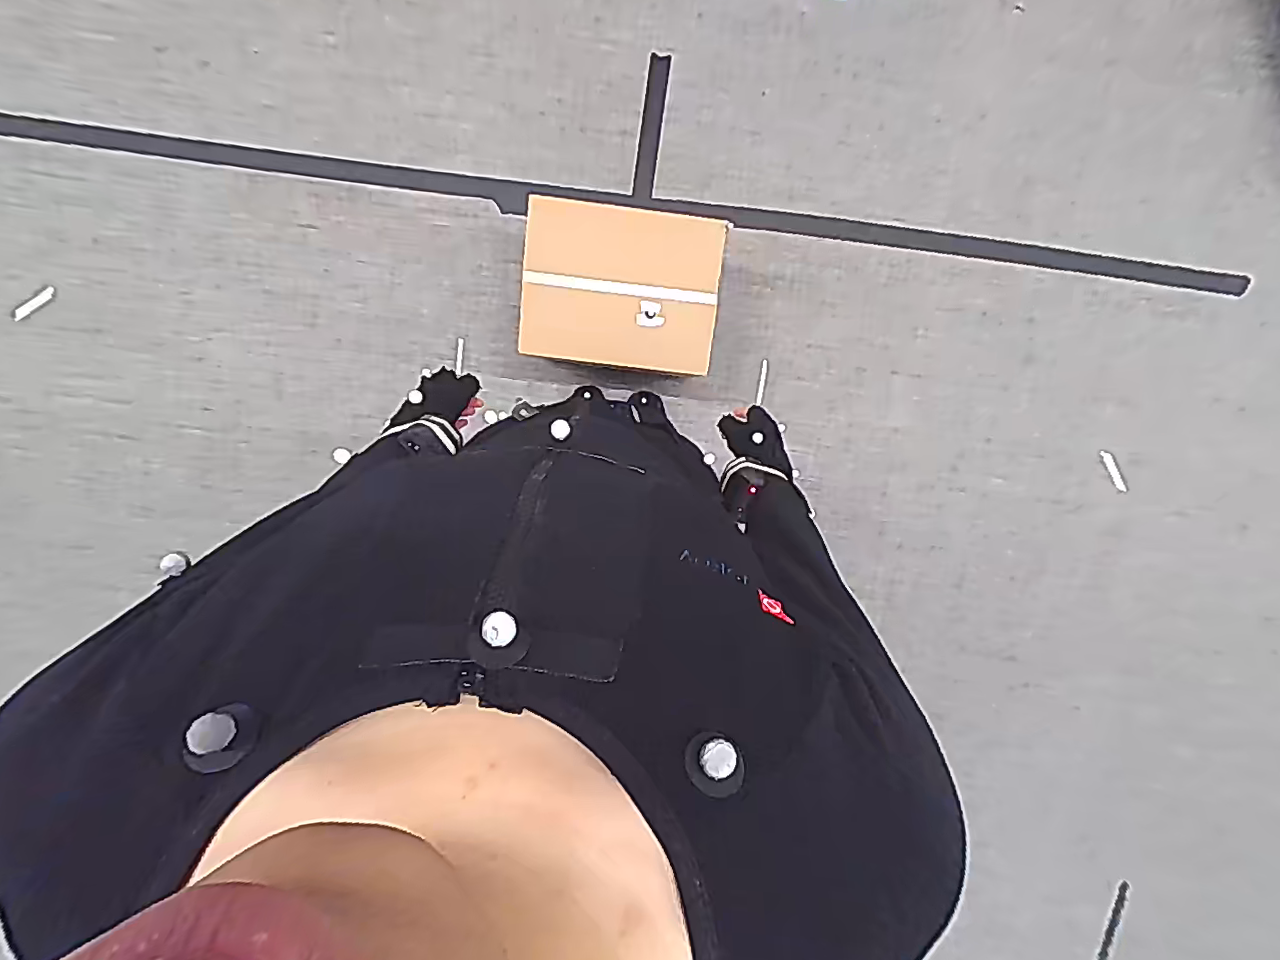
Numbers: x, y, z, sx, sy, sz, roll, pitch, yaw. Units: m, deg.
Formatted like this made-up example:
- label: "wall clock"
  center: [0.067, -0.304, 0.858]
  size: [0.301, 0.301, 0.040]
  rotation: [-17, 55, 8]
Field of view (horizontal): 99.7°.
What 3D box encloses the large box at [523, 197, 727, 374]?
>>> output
- label: "large box"
  center: [-0.041, -0.425, 1.260]
  size: [0.408, 0.320, 0.320]
  rotation: [6, 101, -3]
